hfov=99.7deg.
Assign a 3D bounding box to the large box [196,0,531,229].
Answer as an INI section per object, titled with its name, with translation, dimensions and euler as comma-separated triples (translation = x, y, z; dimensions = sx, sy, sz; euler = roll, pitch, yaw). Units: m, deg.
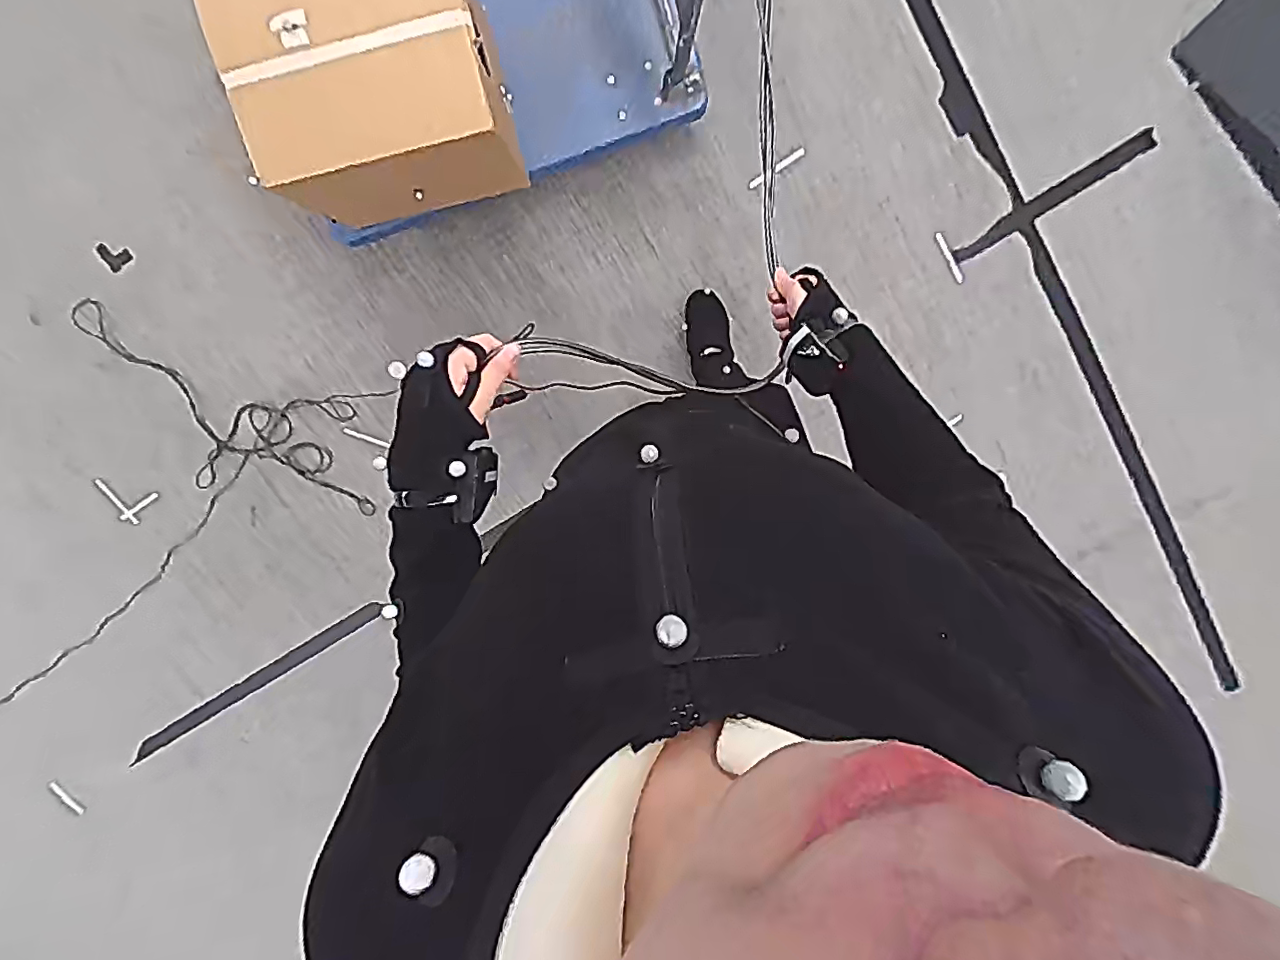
[large box]
translation = -0.458, -0.696, 0.992
dimensions = 0.408, 0.320, 0.320
euler = -13, 102, 4
